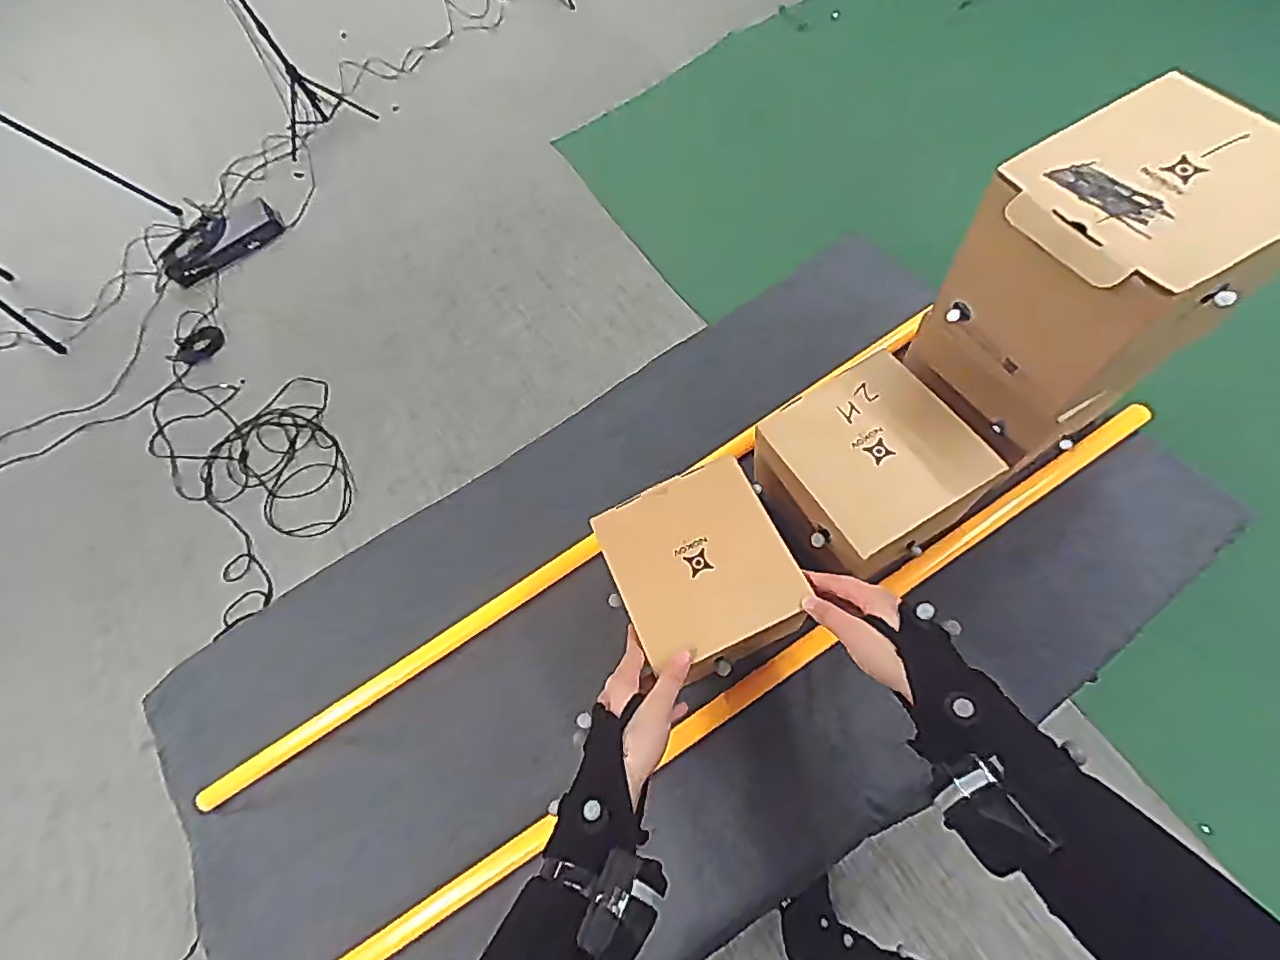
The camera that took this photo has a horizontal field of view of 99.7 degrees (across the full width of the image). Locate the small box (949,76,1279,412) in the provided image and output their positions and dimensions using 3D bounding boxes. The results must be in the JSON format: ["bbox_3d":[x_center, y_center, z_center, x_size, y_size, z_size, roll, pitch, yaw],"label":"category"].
[{"bbox_3d":[0.405,-0.190,0.470,0.179,0.176,0.168,-29,65,-2],"label":"small box"}]

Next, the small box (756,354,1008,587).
[{"bbox_3d":[0.246,0.003,0.600,0.168,0.176,0.179,-31,64,-1],"label":"small box"}]
